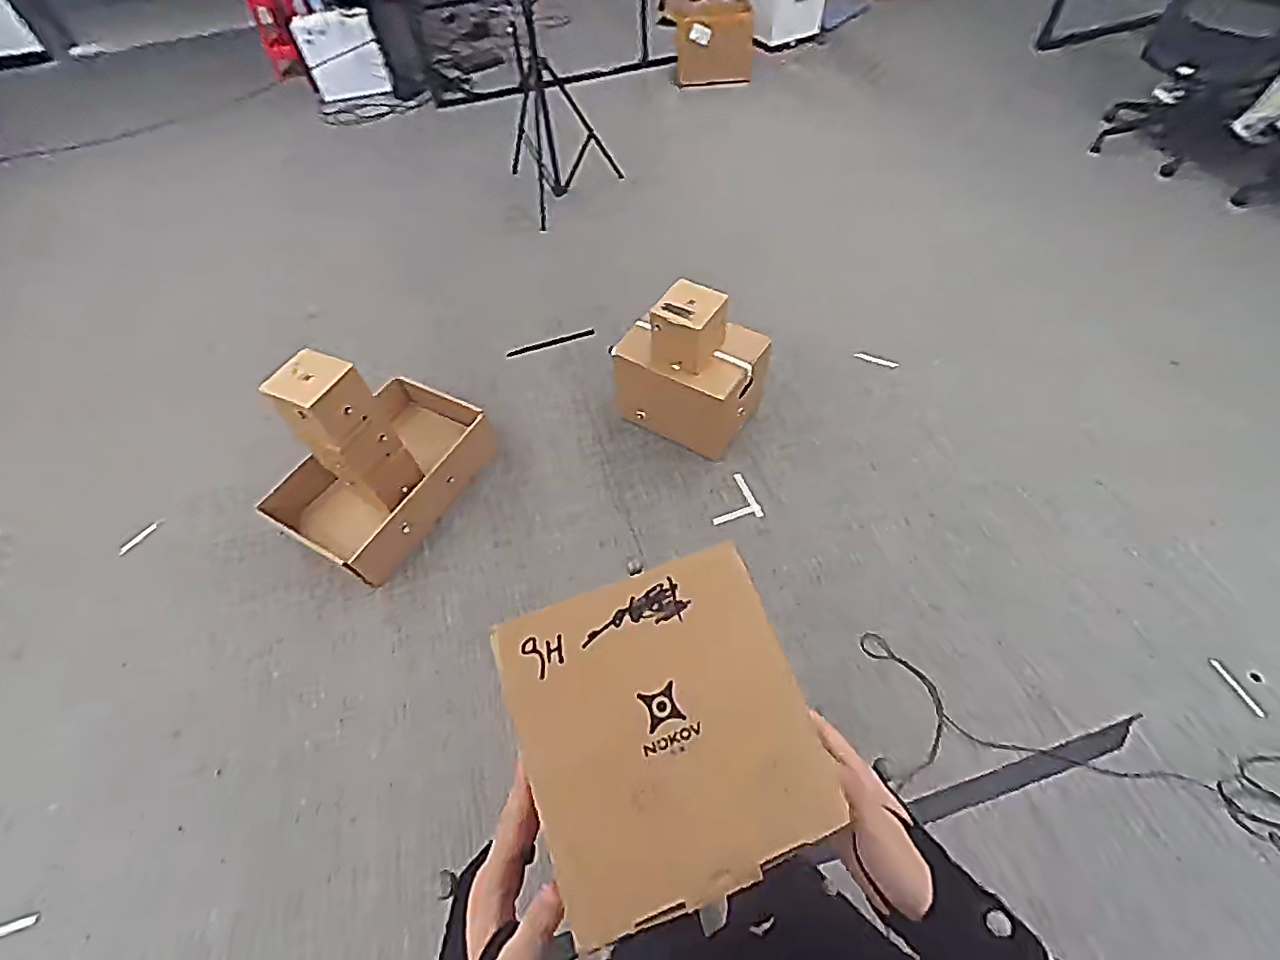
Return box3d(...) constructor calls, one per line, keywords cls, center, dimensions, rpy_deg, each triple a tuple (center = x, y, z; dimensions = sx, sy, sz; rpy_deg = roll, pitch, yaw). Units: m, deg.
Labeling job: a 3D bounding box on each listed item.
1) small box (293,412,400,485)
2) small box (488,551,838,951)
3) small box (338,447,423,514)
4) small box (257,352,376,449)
box3d(cls="small box", center=(-0.838, -0.107, 1.566), dimensions=(0.179, 0.176, 0.168), rpy_deg=(18, 58, 17))
box3d(cls="small box", center=(0.005, 0.171, 0.393), dimensions=(0.168, 0.176, 0.179), rpy_deg=(-18, 73, -11))
box3d(cls="small box", center=(-0.825, -0.019, 1.701), dimensions=(0.179, 0.176, 0.168), rpy_deg=(23, 60, 17))
box3d(cls="small box", center=(-0.844, -0.204, 1.432), dimensions=(0.179, 0.176, 0.168), rpy_deg=(19, 57, 15))
